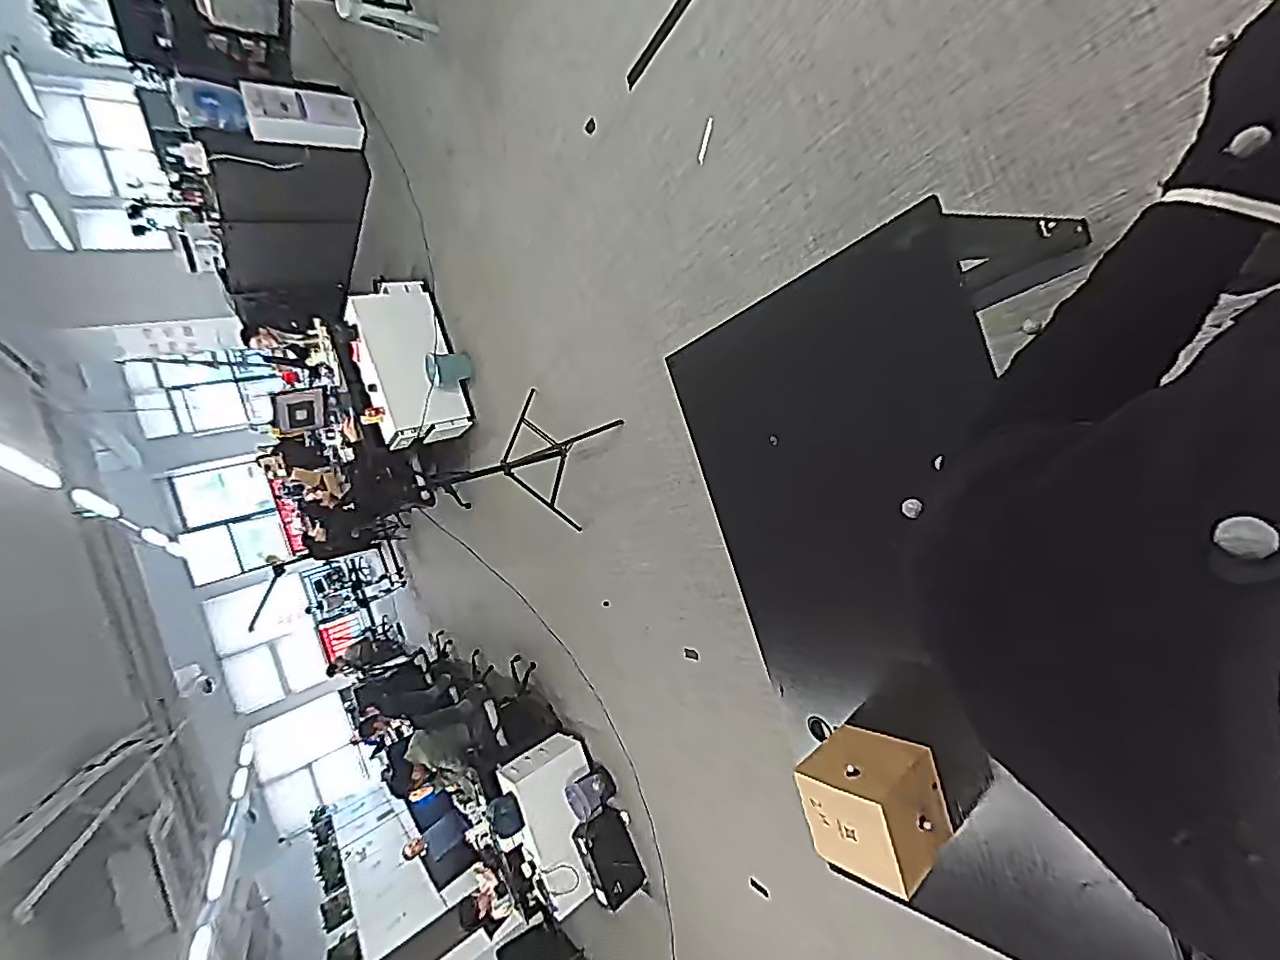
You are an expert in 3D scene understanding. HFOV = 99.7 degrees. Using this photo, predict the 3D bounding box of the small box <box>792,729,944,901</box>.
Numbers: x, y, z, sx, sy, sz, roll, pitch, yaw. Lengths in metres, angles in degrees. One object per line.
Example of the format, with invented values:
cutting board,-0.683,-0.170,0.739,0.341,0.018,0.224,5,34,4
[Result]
small box,0.406,0.568,0.950,0.179,0.176,0.168,-13,93,56
